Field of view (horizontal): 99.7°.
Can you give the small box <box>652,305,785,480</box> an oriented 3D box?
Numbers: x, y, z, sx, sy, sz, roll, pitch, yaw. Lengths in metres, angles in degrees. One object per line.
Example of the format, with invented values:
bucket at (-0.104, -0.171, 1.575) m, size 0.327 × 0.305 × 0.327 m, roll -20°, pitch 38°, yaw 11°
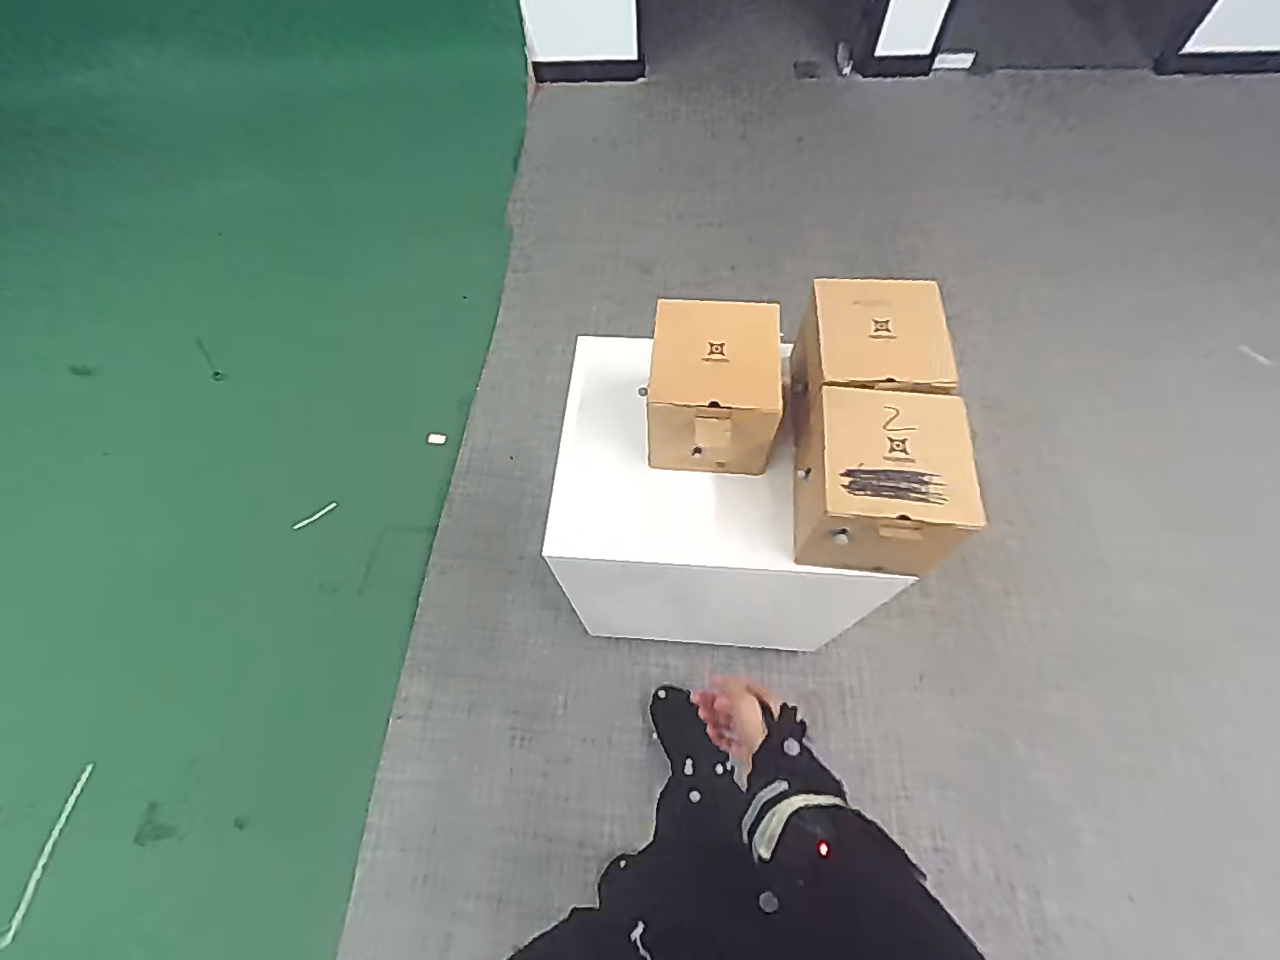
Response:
small box at (0.105, -0.120, 0.765) m, size 0.168 × 0.176 × 0.179 m, roll 4°, pitch 63°, yaw 4°
